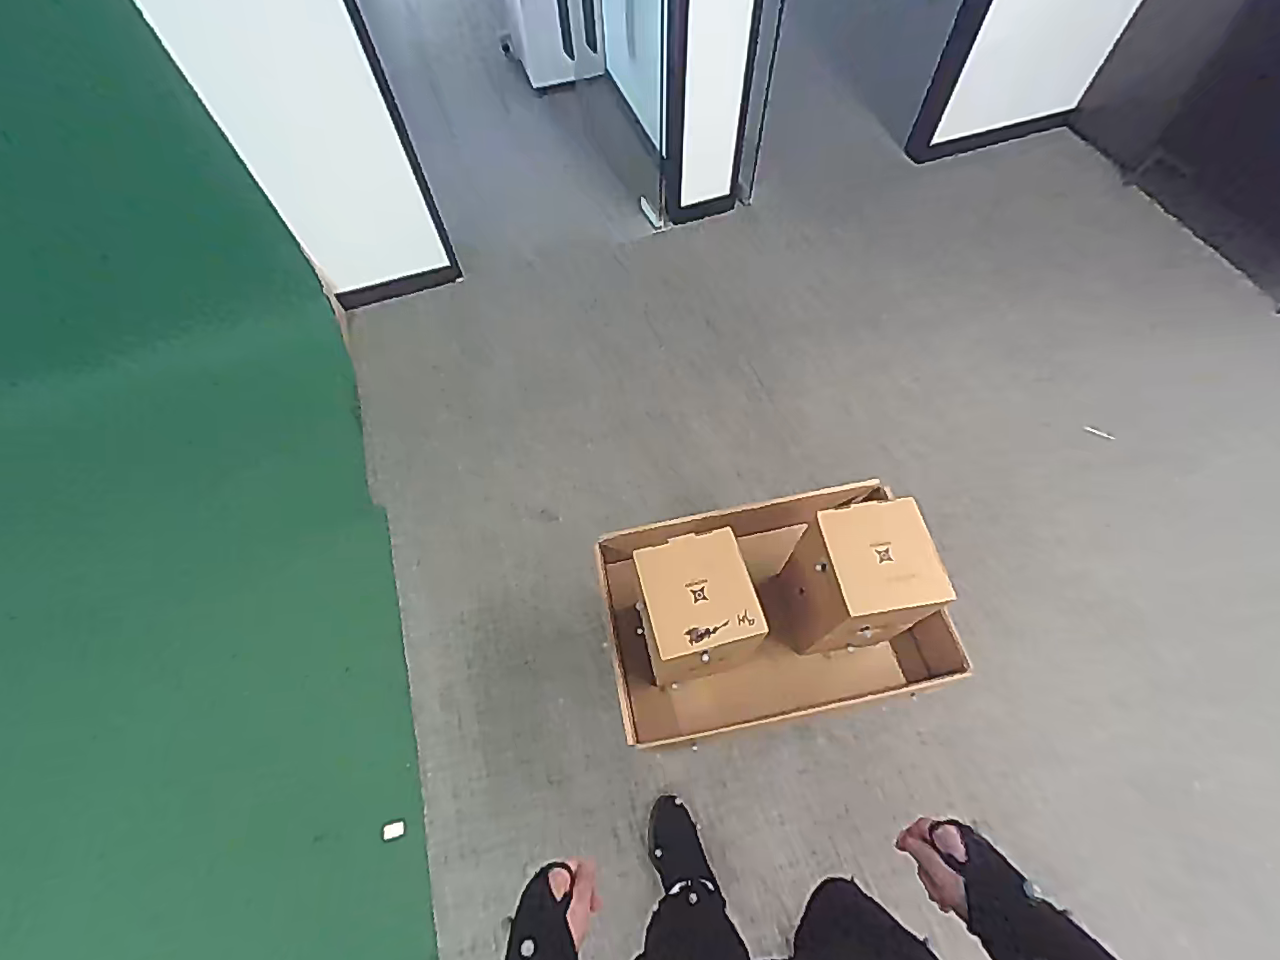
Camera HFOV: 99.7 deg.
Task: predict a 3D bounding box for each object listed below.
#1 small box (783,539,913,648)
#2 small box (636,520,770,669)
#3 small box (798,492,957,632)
[{"bbox_3d":[0.388,0.215,1.049,0.168,0.176,0.179,-8,63,-1],"label":"small box"},{"bbox_3d":[0.092,0.191,0.884,0.168,0.176,0.179,-13,63,-5],"label":"small box"},{"bbox_3d":[0.379,0.141,0.903,0.168,0.176,0.179,-8,63,-2],"label":"small box"}]
